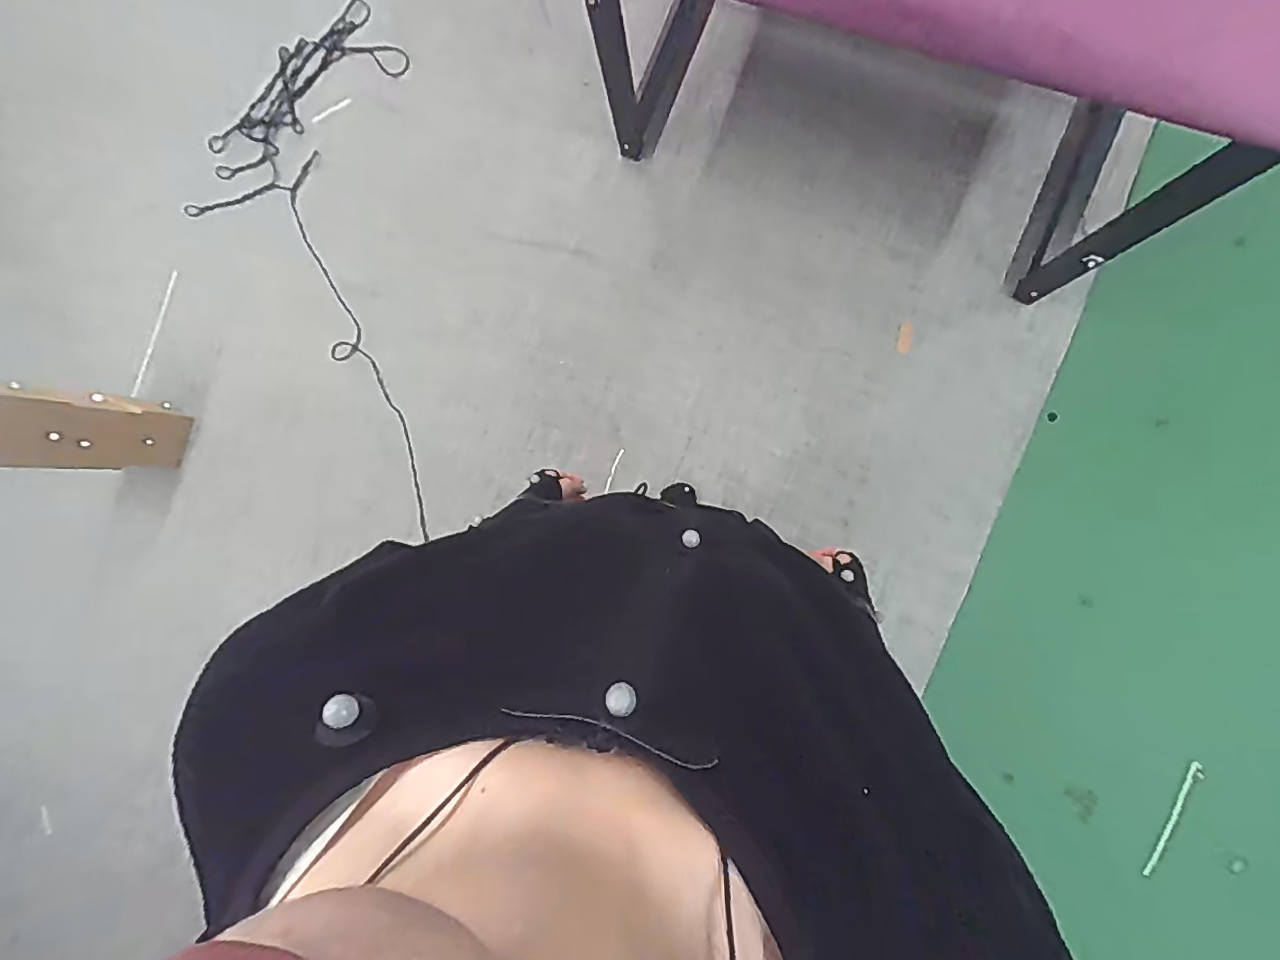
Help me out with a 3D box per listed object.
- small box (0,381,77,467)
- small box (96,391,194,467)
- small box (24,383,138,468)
[{"bbox_3d":[-1.516,-0.139,1.286,0.168,0.176,0.179,19,91,6],"label":"small box"},{"bbox_3d":[-1.491,-0.145,1.613,0.168,0.176,0.179,20,91,6],"label":"small box"},{"bbox_3d":[-1.514,-0.138,1.450,0.168,0.176,0.179,21,92,5],"label":"small box"}]
